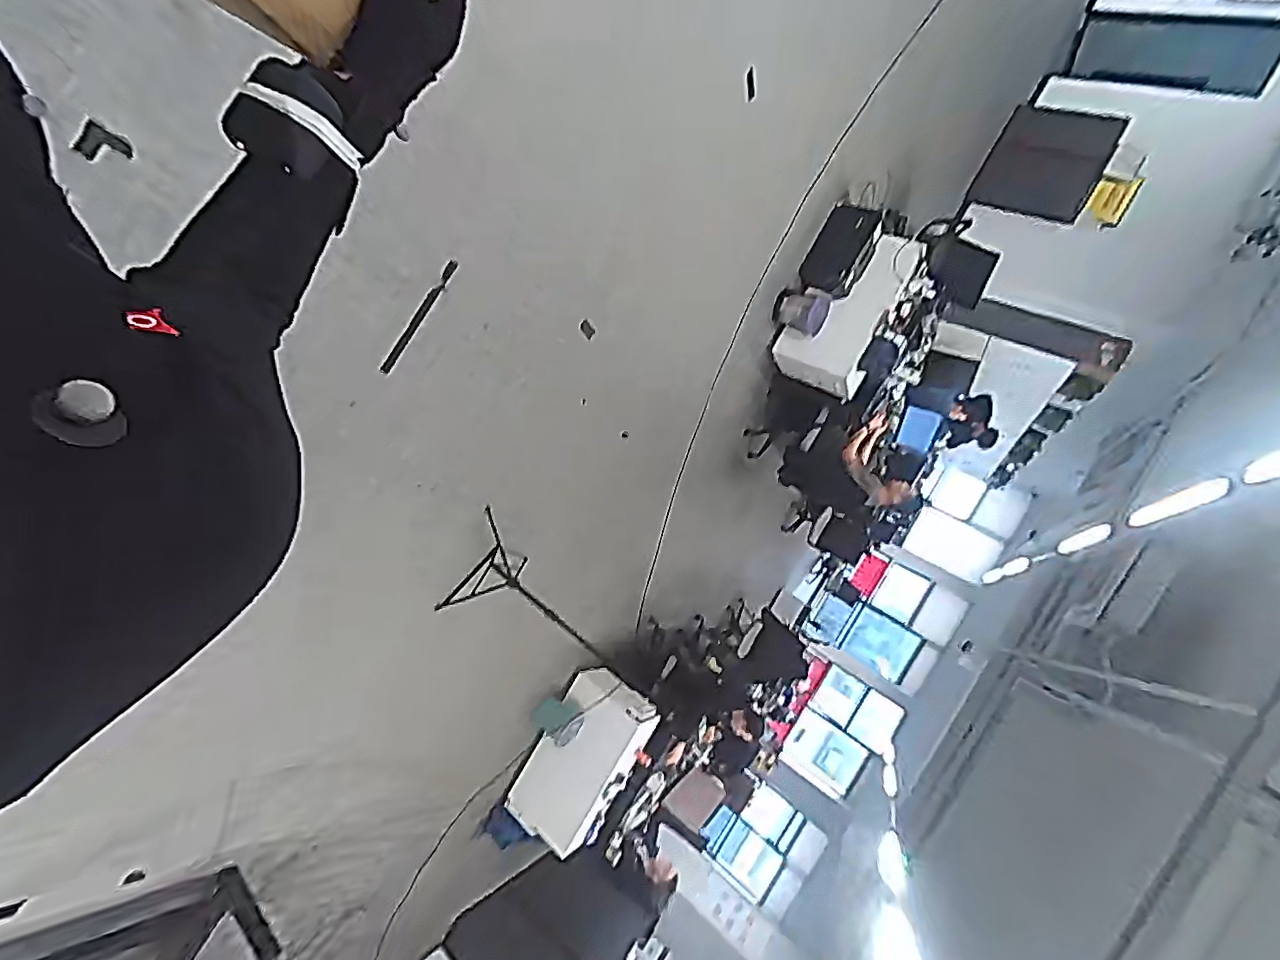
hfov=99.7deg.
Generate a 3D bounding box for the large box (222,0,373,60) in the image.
[{"bbox_3d":[-0.334,-0.570,0.298,0.320,0.320,0.408,-51,154,6],"label":"large box"}]
